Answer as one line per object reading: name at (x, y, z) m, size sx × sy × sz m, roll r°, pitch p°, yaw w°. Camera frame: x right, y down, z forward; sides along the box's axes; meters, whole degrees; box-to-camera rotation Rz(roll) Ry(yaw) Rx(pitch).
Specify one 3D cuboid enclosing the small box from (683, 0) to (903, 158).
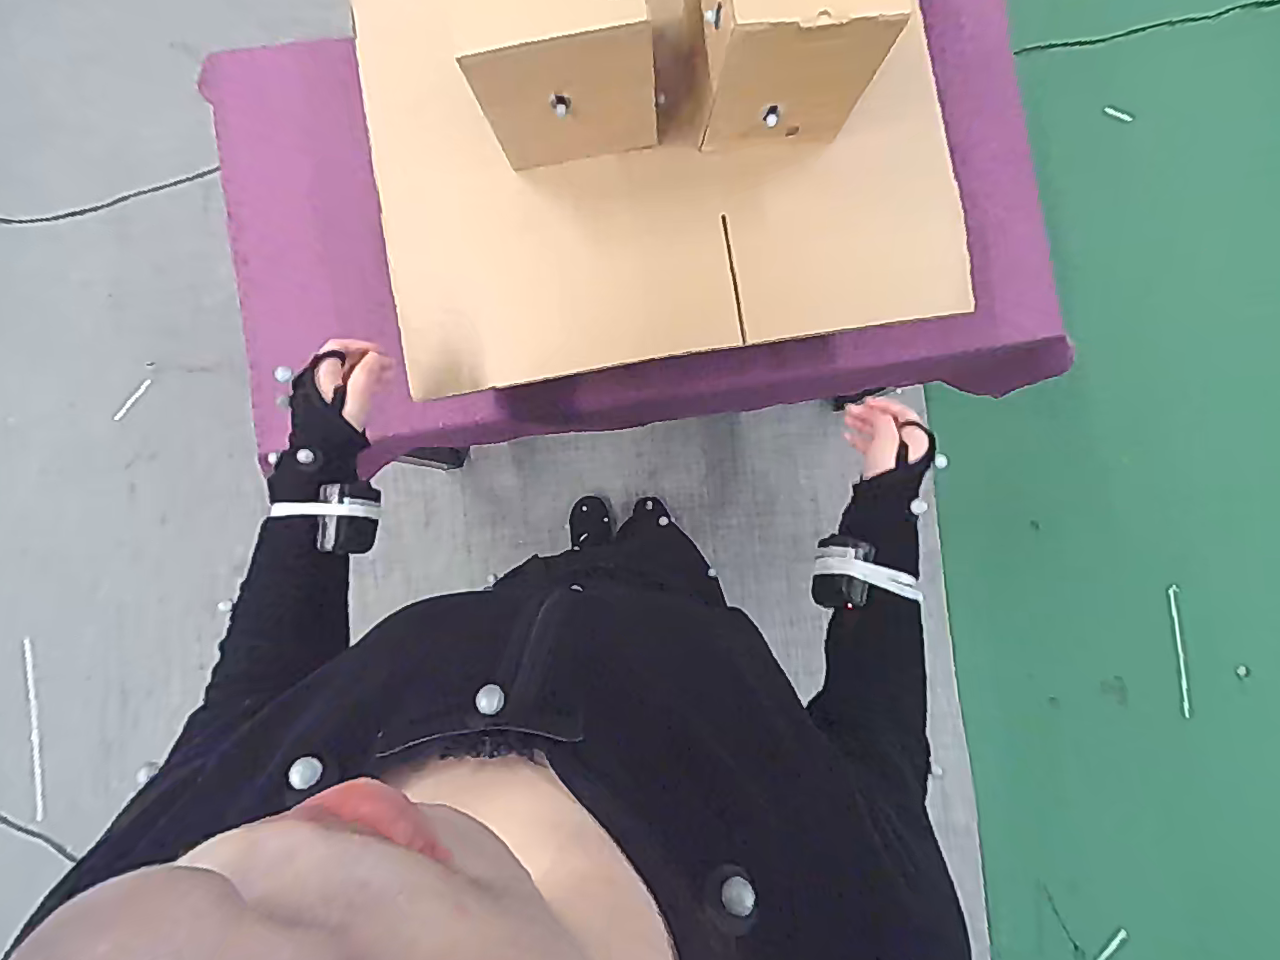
small box at (0.145, -0.481, 0.572) m, size 0.168 × 0.176 × 0.179 m, roll -7°, pitch 88°, yaw -4°
